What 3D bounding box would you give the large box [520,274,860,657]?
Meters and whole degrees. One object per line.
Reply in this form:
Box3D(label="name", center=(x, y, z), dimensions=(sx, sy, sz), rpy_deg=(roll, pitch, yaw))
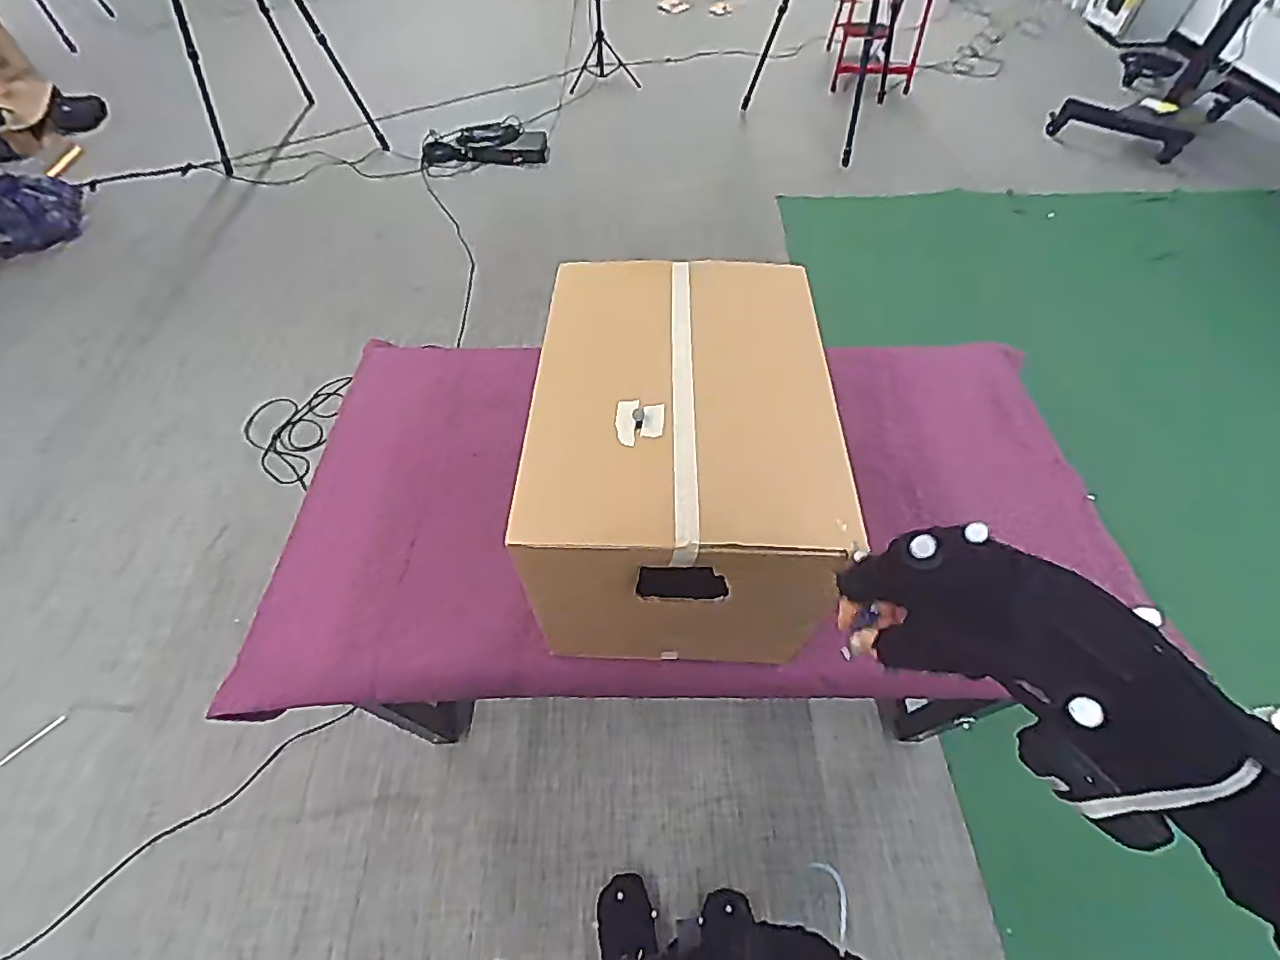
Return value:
Box3D(label="large box", center=(0.046, -0.014, 0.713), dimensions=(0.320, 0.320, 0.408), rpy_deg=(2, 56, 1))
